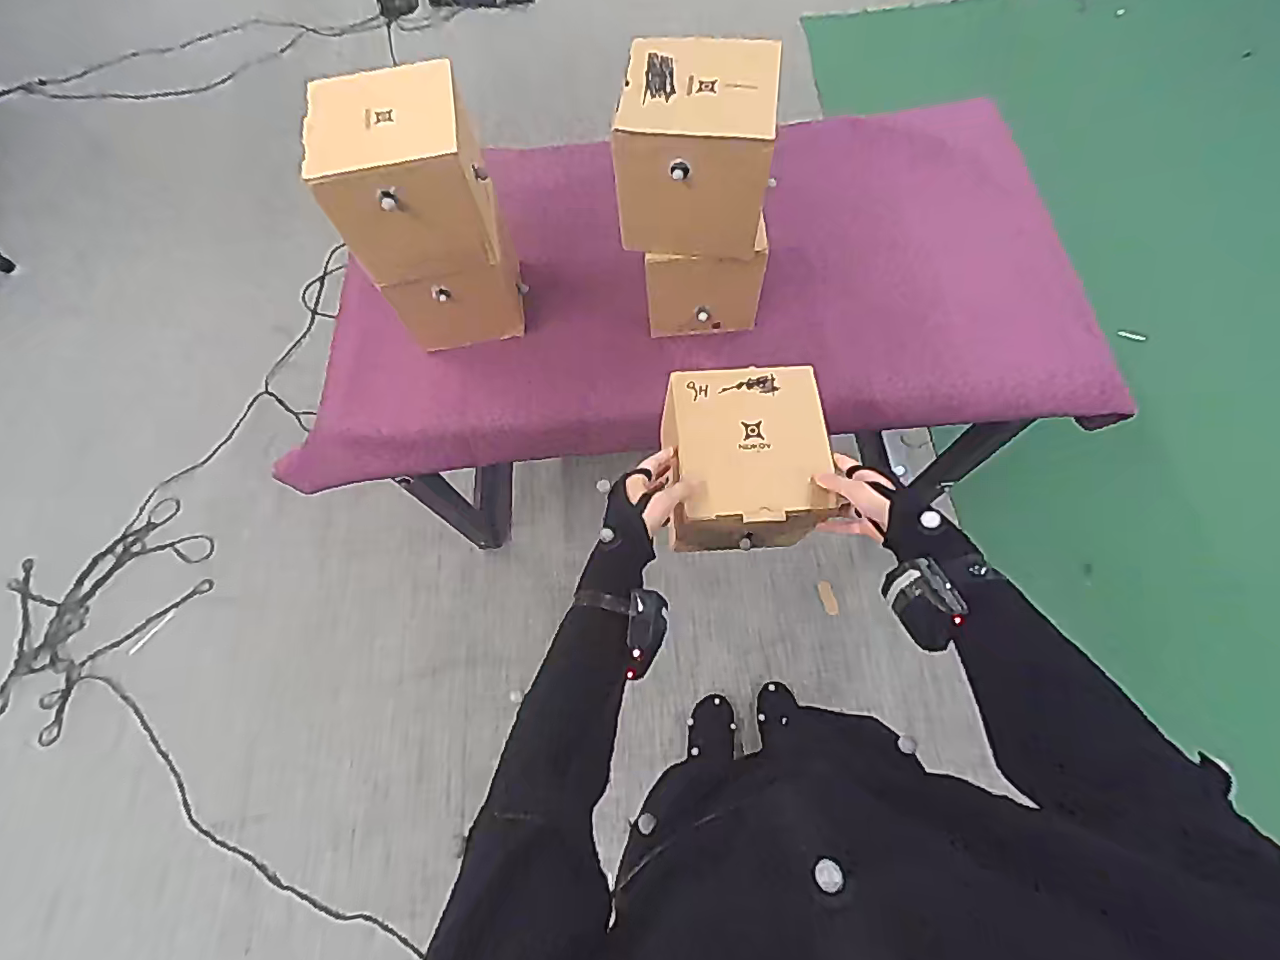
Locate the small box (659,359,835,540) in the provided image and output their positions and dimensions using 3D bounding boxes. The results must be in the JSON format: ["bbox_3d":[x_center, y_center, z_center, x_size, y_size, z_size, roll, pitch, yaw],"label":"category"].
[{"bbox_3d":[0.115,-0.027,0.656,0.168,0.176,0.179,-3,72,-4],"label":"small box"}]

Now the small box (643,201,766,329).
[{"bbox_3d":[0.088,-0.354,0.820,0.168,0.176,0.179,-3,68,3],"label":"small box"}]

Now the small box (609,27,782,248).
[{"bbox_3d":[0.068,-0.413,0.667,0.179,0.176,0.168,7,69,6],"label":"small box"}]

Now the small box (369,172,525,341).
[{"bbox_3d":[-0.288,-0.336,0.837,0.179,0.176,0.168,-9,69,0],"label":"small box"}]

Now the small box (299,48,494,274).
[{"bbox_3d":[-0.292,-0.392,0.685,0.179,0.176,0.168,-11,69,0],"label":"small box"}]
